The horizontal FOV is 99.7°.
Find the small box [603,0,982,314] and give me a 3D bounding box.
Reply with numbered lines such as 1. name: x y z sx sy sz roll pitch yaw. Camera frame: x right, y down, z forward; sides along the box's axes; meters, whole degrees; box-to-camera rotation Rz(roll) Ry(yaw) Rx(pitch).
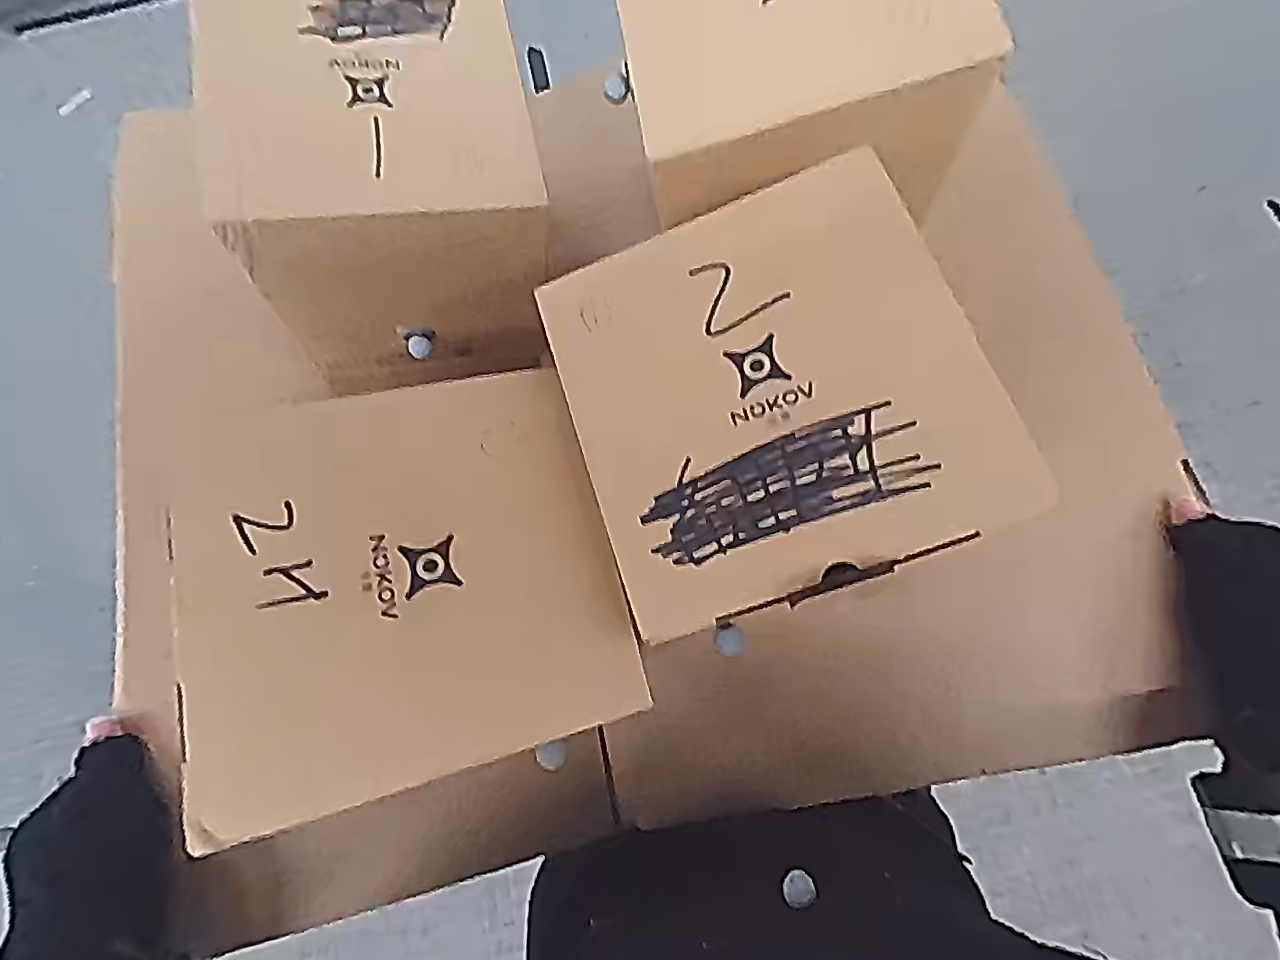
1. small box: 0.082 -0.230 0.354 0.168 0.176 0.179 -13 75 10
